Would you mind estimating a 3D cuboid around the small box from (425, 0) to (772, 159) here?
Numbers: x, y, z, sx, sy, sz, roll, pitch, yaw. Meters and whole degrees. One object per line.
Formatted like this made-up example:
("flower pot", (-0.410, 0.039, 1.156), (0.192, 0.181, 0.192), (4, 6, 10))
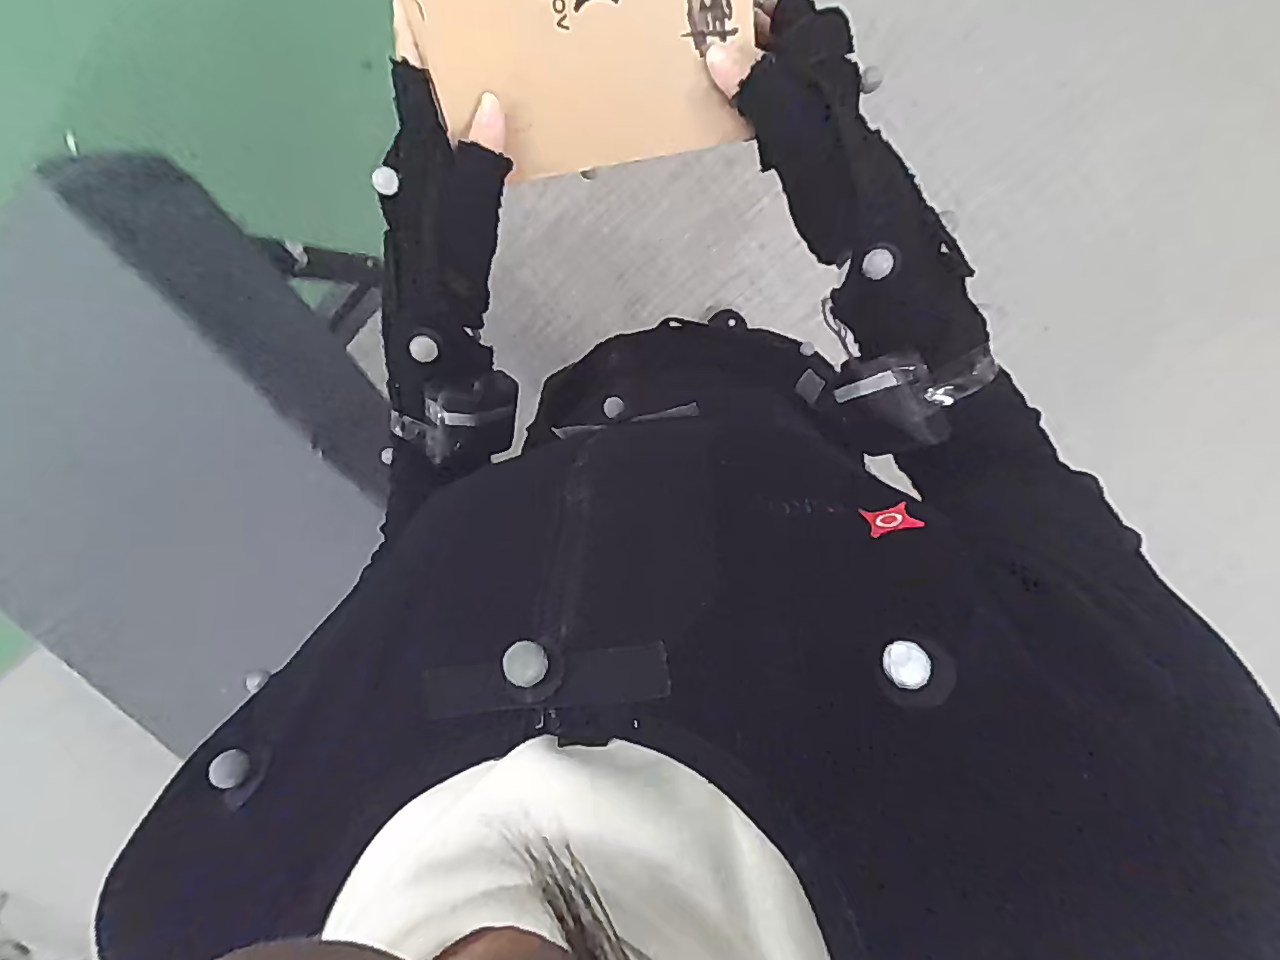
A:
("small box", (-0.025, -0.308, 0.327), (0.179, 0.176, 0.168), (-9, 125, 7))
